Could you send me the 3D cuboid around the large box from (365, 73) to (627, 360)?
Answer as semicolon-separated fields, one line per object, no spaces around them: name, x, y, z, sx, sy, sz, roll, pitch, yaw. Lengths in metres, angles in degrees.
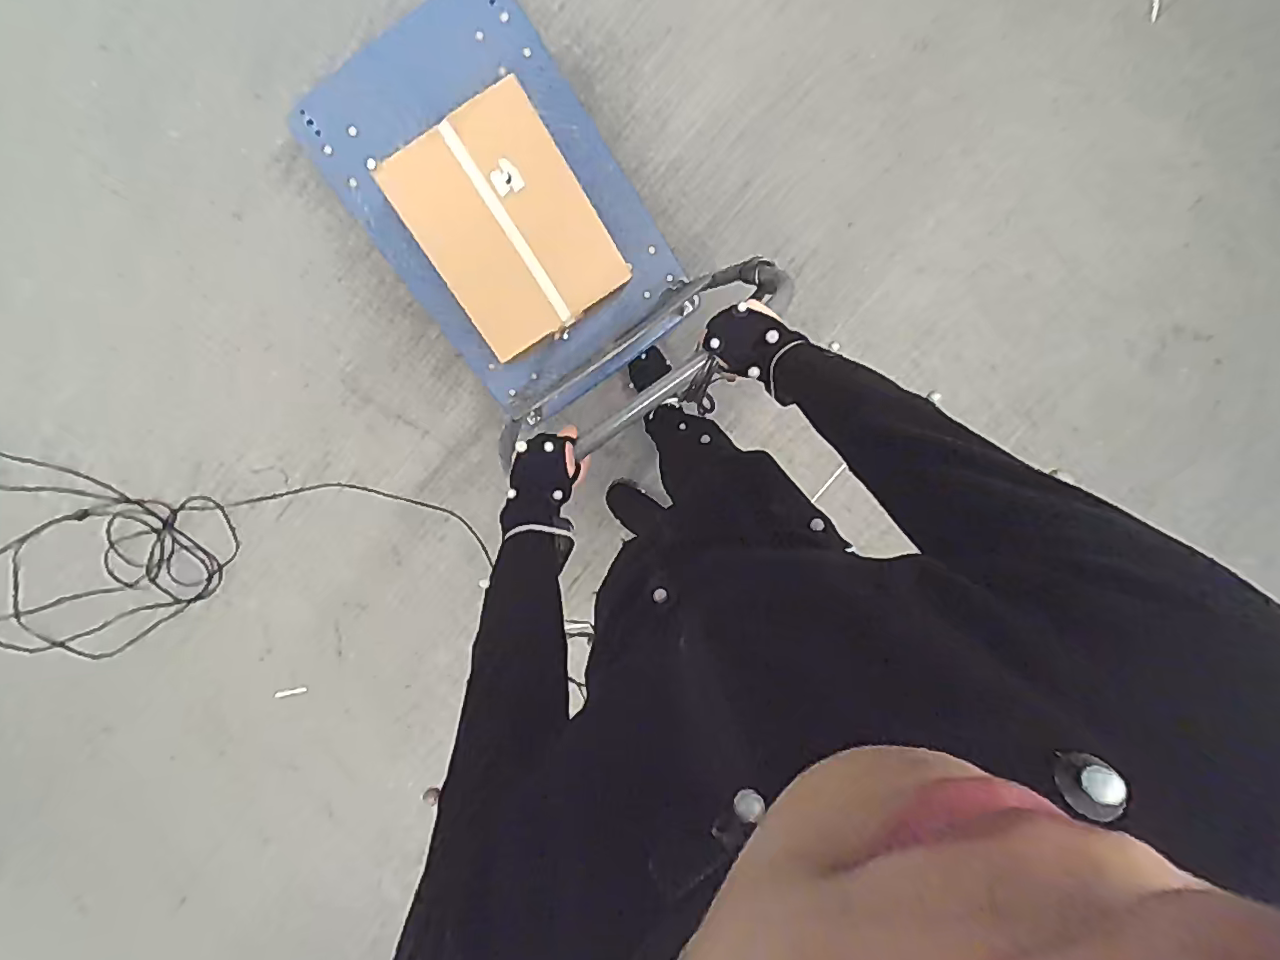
large box;-0.268;-0.506;1.141;0.320;0.320;0.408;-33;104;1
